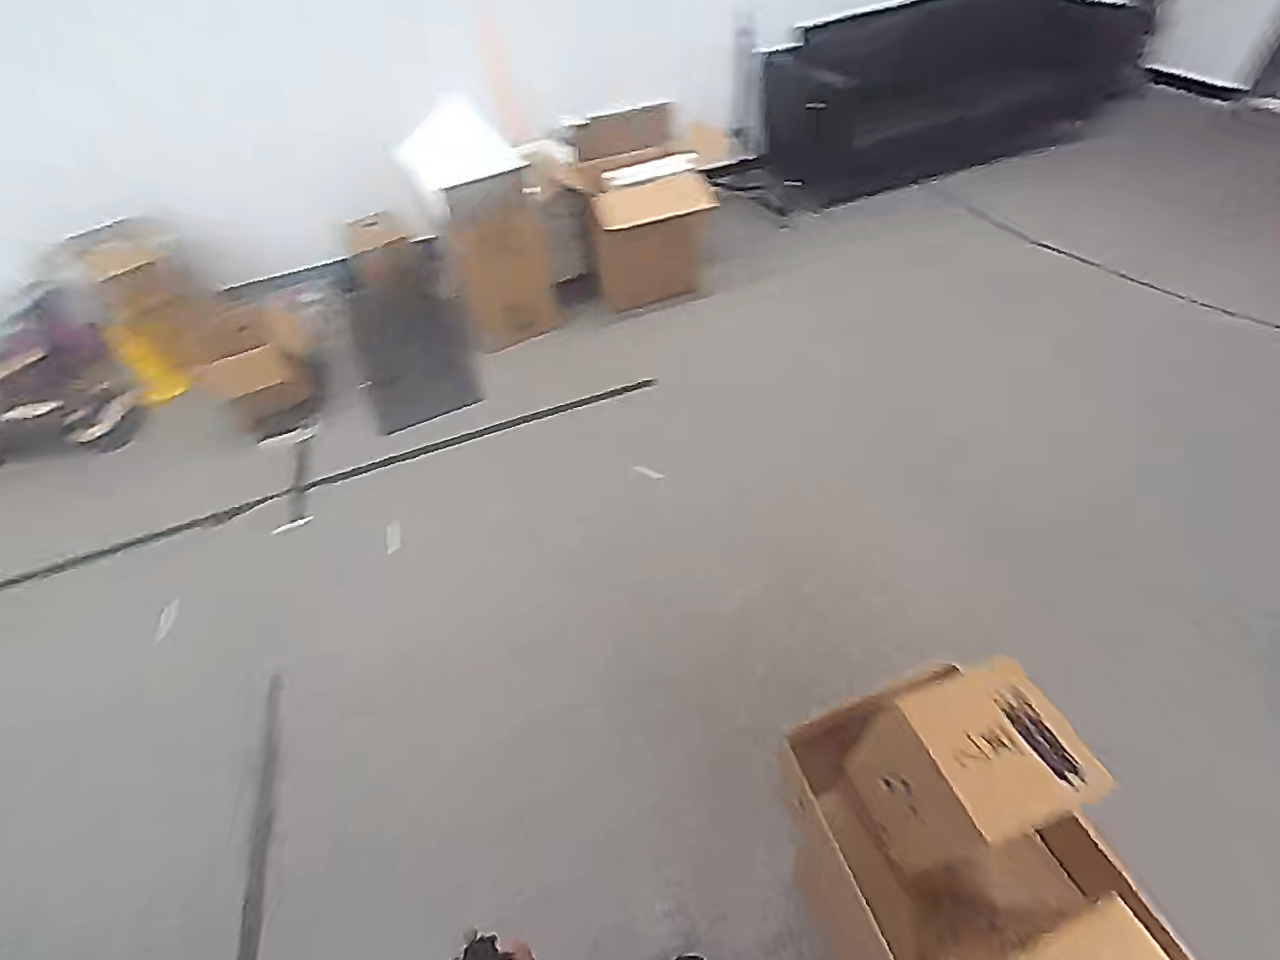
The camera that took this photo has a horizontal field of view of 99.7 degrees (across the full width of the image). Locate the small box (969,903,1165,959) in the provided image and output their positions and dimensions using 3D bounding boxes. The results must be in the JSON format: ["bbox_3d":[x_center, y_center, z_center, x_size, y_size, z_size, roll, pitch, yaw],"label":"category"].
[{"bbox_3d":[0.545,0.652,0.660,0.179,0.176,0.168,-20,50,-10],"label":"small box"}]

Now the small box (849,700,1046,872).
[{"bbox_3d":[0.453,0.470,0.831,0.179,0.176,0.168,-16,48,-10],"label":"small box"}]
